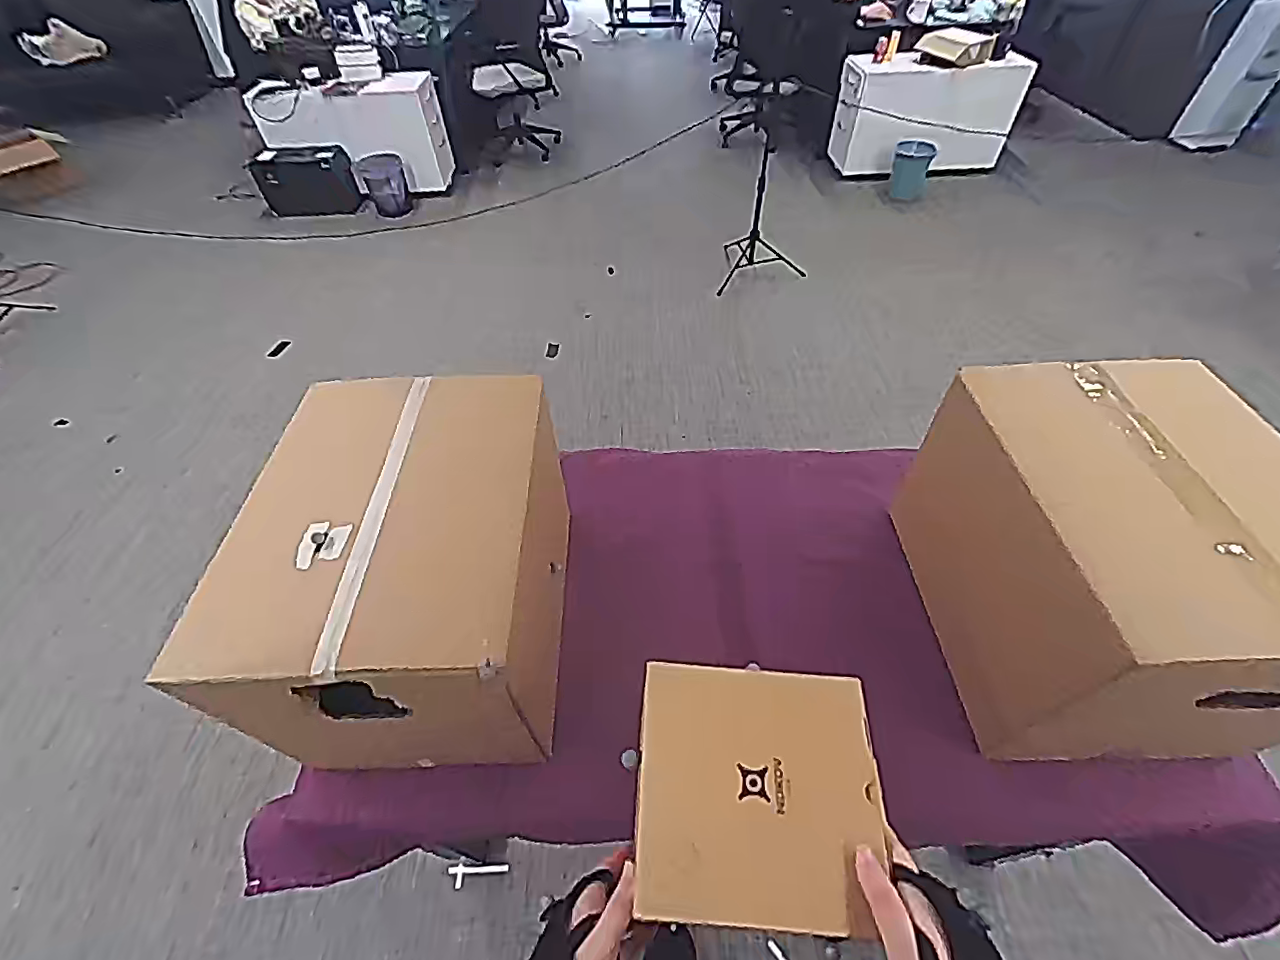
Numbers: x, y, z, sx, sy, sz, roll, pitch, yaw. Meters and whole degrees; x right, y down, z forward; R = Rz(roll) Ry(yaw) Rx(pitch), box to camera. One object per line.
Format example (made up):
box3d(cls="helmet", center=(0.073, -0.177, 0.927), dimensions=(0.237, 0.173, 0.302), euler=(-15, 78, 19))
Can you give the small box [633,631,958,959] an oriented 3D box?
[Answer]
box3d(cls="small box", center=(0.102, 0.249, 0.420), dimensions=(0.168, 0.176, 0.179), euler=(15, 33, -14))
